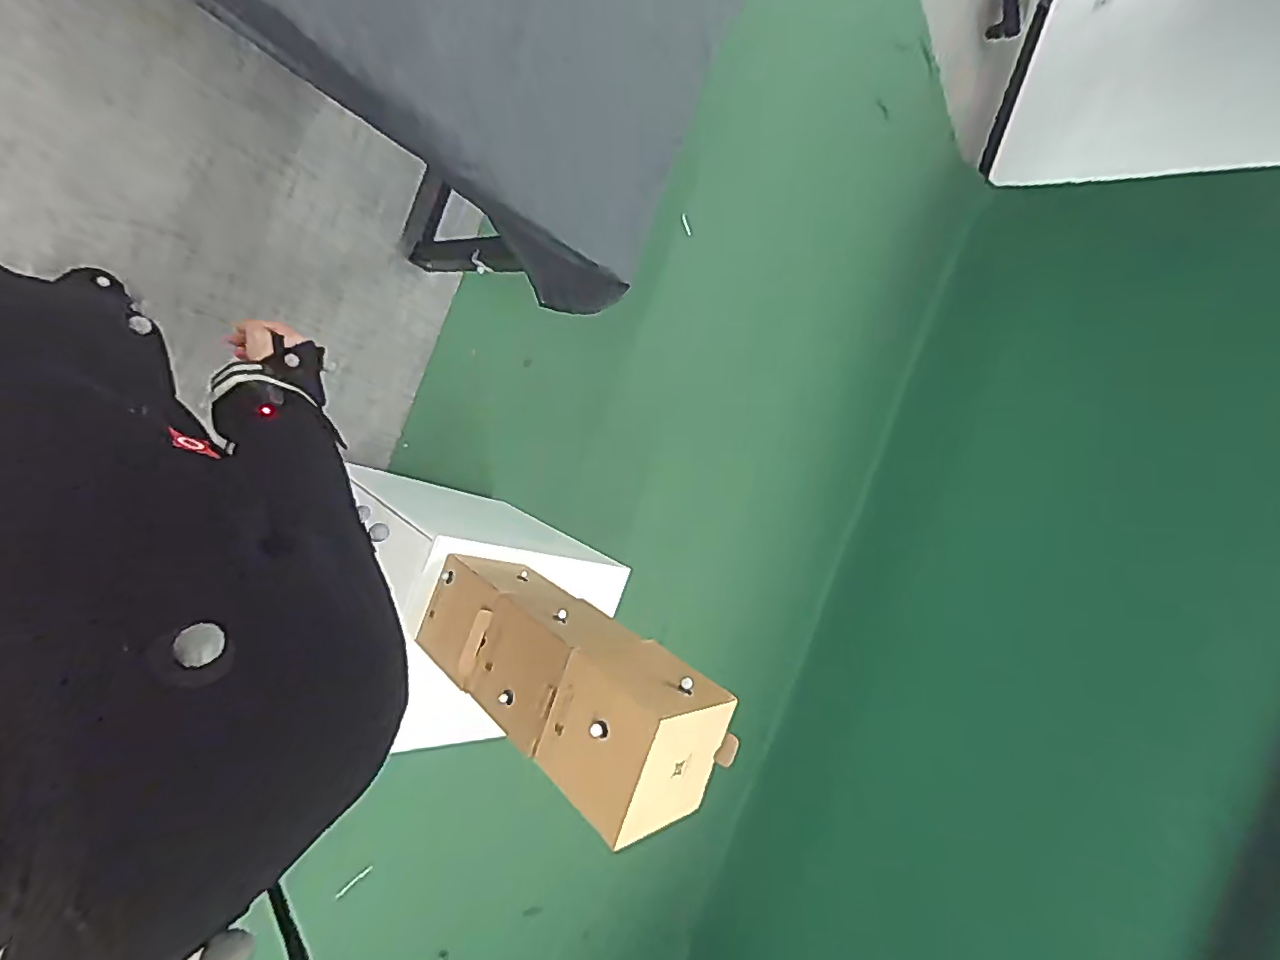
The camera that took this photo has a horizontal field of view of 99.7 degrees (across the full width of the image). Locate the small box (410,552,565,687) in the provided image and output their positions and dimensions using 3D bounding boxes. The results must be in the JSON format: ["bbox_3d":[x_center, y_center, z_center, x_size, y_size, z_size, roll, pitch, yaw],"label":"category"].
[{"bbox_3d":[-0.260,0.233,0.926,0.179,0.176,0.168,21,90,-51],"label":"small box"}]

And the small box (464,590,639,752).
[{"bbox_3d":[-0.138,0.278,0.828,0.179,0.176,0.168,17,95,-51],"label":"small box"}]

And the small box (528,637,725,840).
[{"bbox_3d":[-0.021,0.327,0.727,0.179,0.176,0.168,15,95,-50],"label":"small box"}]
